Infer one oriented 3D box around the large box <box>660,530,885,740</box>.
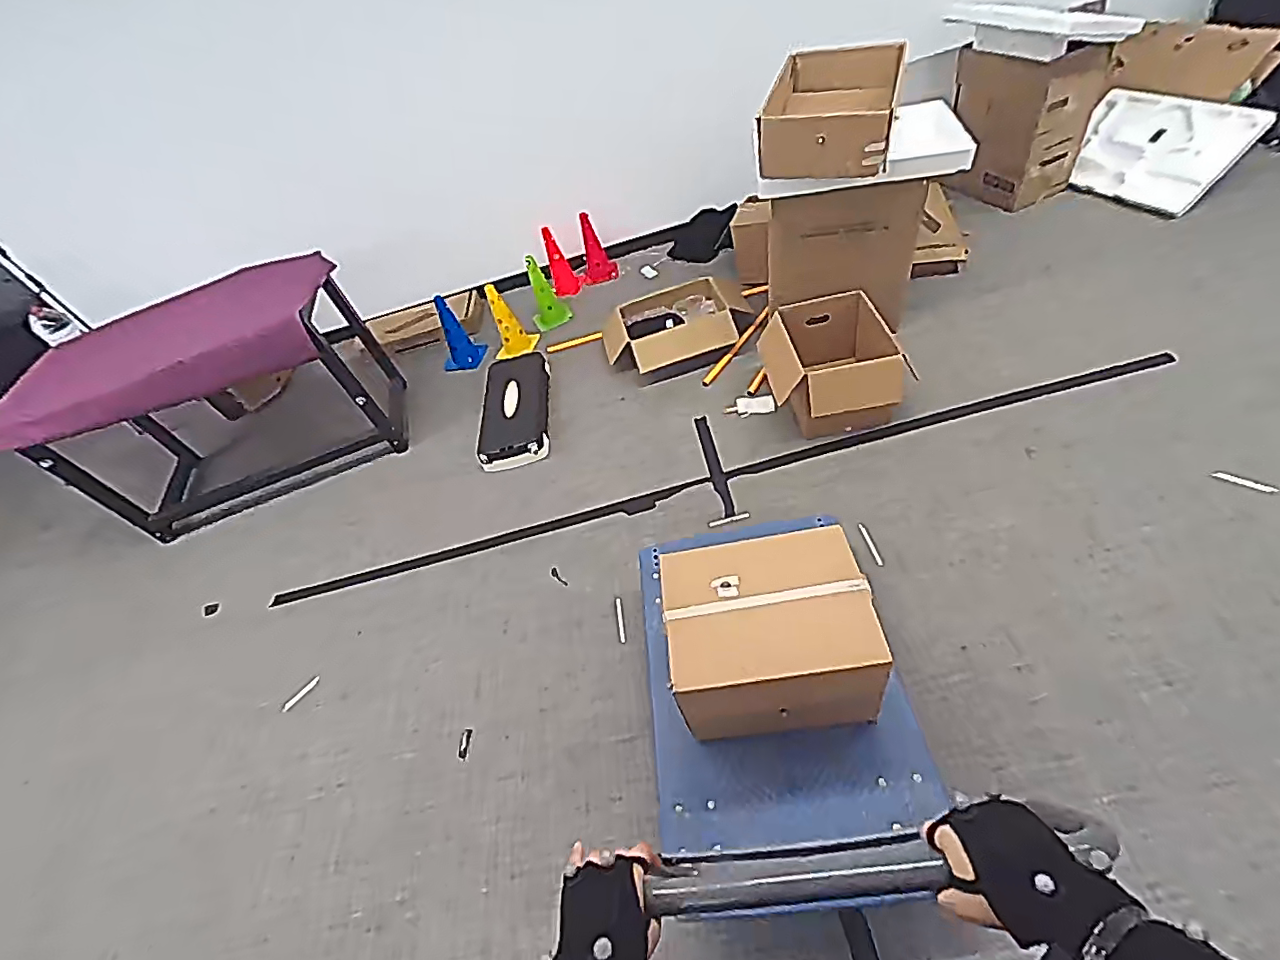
[{"bbox_3d":[0.283,0.358,1.219,0.408,0.320,0.320,-12,46,8],"label":"large box"}]
